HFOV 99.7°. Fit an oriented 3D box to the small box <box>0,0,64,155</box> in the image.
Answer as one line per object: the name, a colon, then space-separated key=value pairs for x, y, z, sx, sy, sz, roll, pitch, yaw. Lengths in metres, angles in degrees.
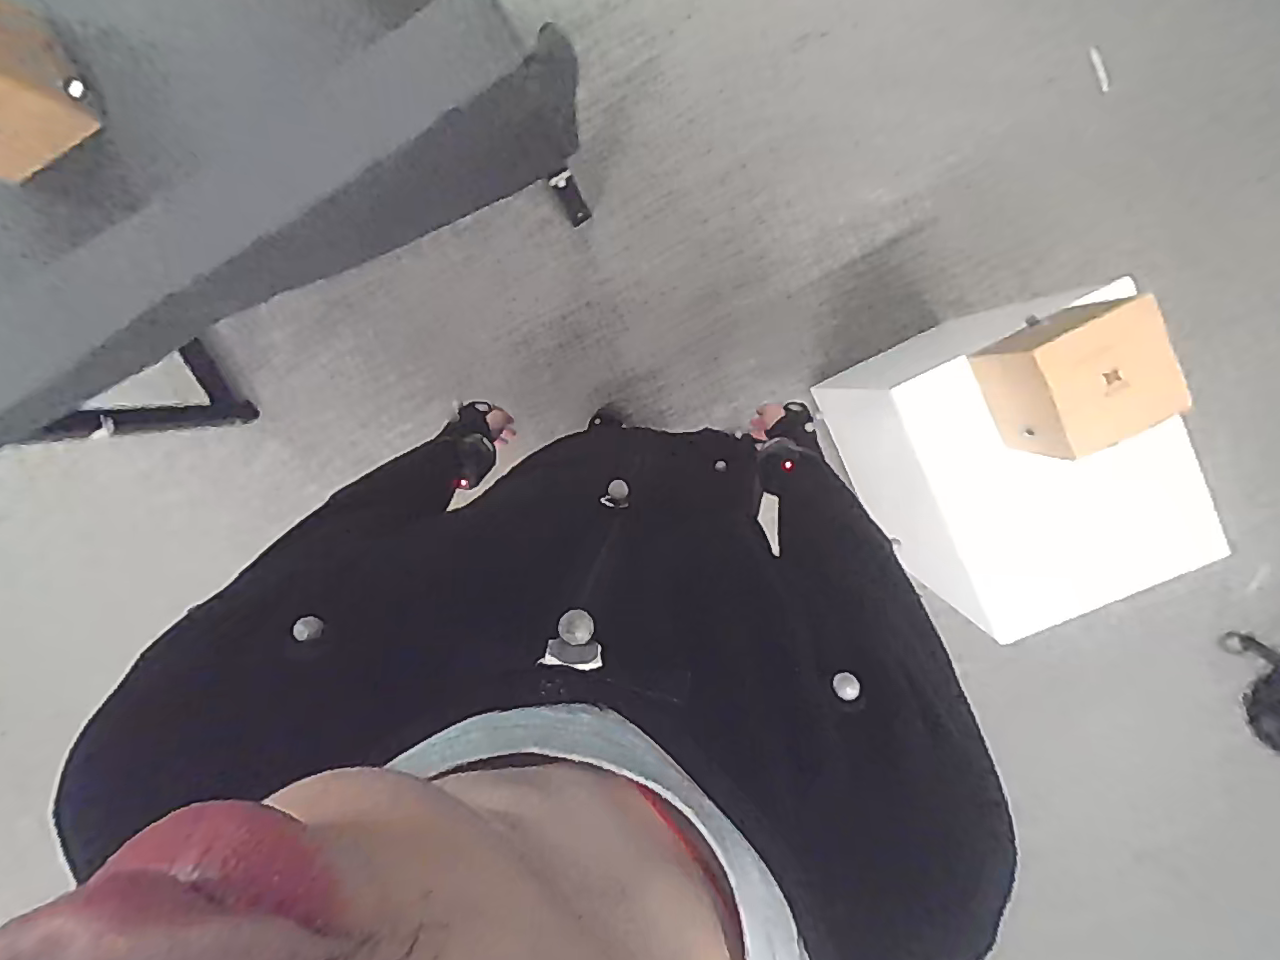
small box: x=-0.880 y=-0.534 z=0.660 sx=0.179 sy=0.176 sz=0.168 roll=-25 pitch=97 yaw=6

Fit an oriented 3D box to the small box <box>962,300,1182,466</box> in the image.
small box: x=0.632 y=-0.143 z=0.814 sx=0.168 sy=0.176 sz=0.179 roll=-28 pitch=98 yaw=4
